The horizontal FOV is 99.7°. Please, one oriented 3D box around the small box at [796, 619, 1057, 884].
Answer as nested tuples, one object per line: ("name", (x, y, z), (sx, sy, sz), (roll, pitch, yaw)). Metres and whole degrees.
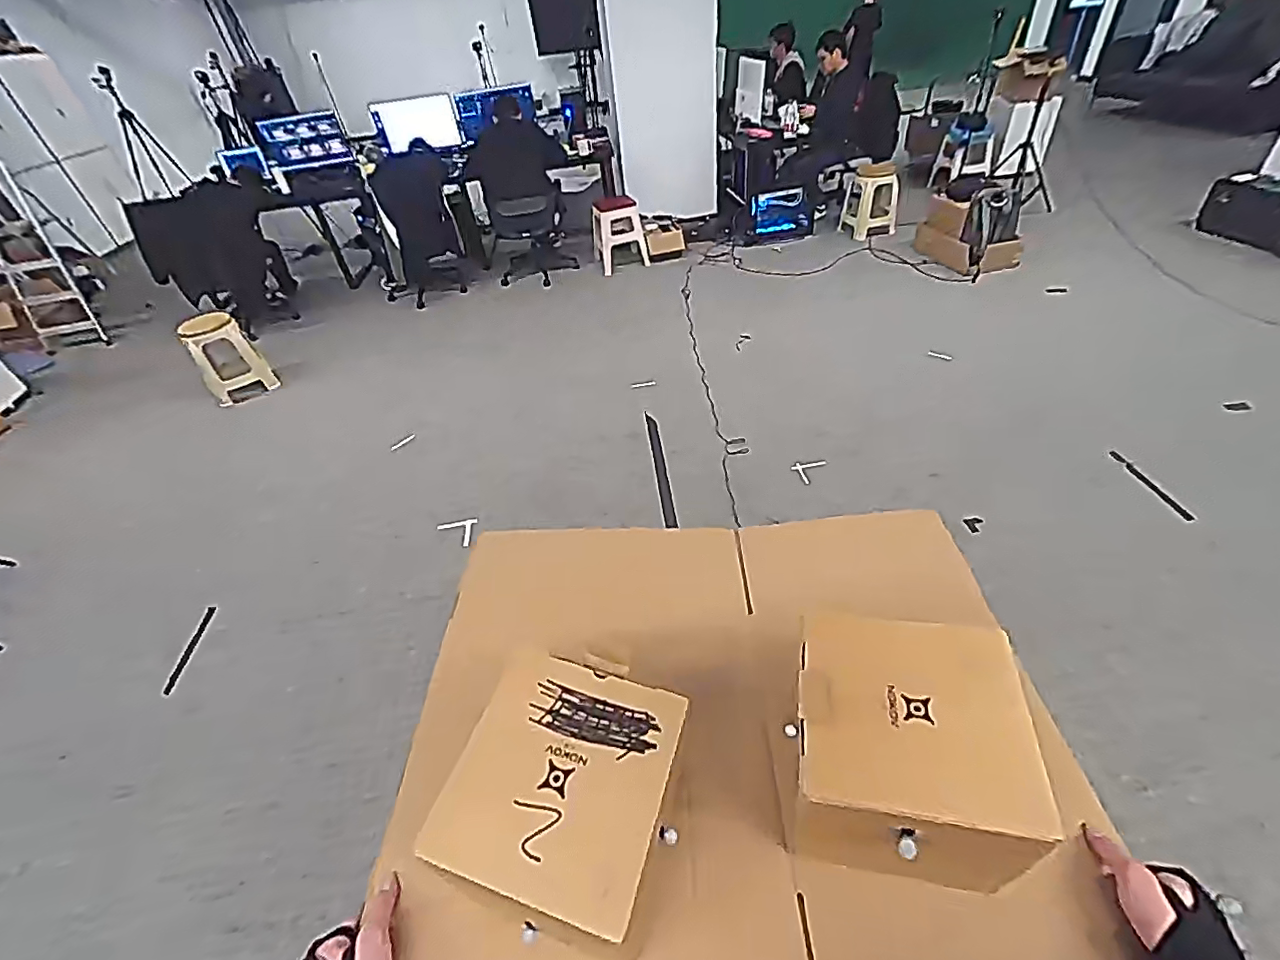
("small box", (0.241, 0.254, 0.509), (0.179, 0.176, 0.168), (1, 44, 16))
